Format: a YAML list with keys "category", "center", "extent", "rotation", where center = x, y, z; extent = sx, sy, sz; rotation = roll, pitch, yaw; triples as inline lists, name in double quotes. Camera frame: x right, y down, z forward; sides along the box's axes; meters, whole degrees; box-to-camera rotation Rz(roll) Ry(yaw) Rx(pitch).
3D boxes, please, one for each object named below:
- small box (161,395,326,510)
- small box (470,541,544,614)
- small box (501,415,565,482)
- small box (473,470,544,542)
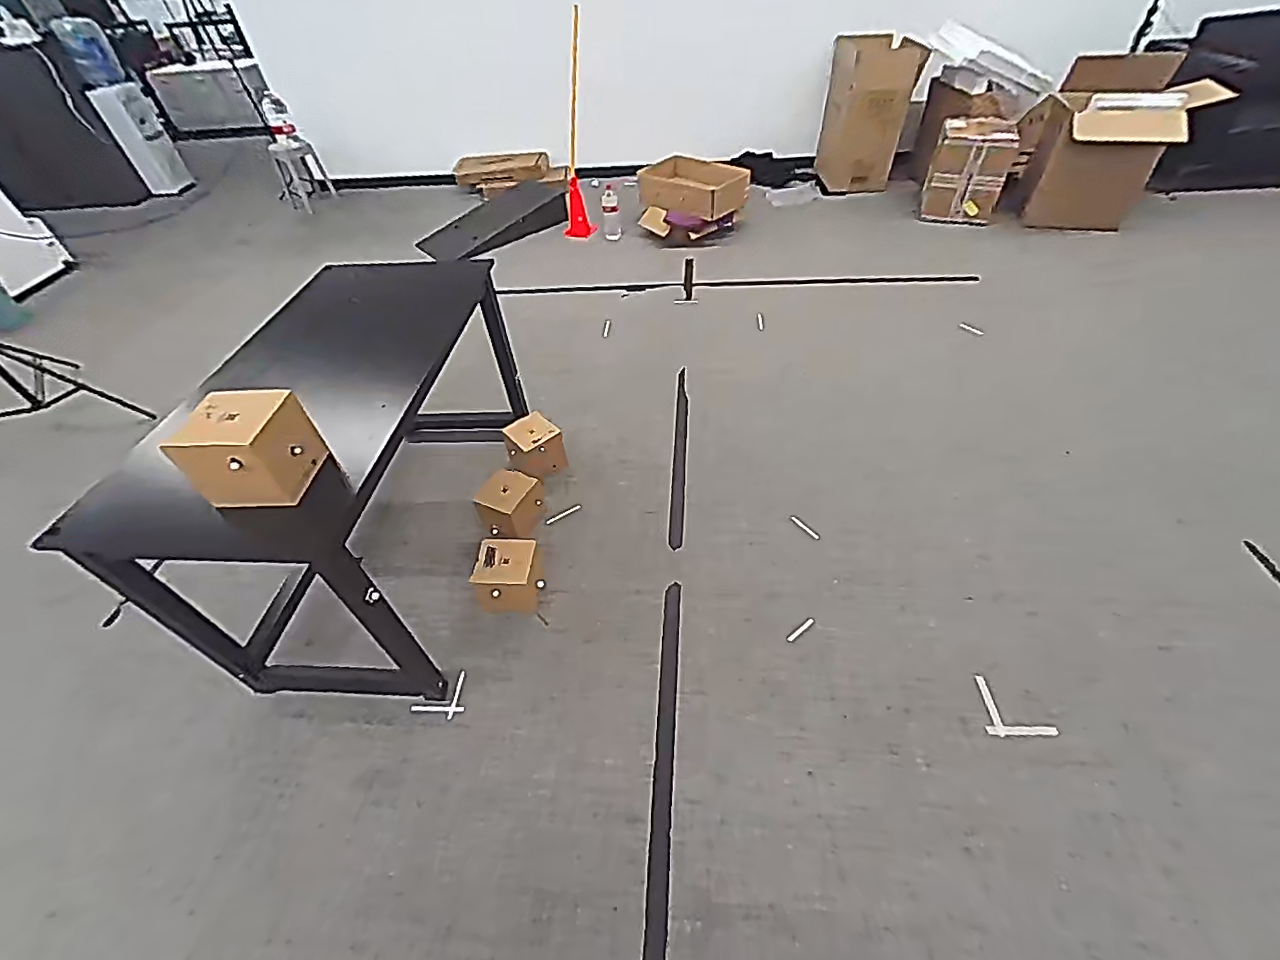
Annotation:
- category: "small box"
  center: [-0.774, -0.053, 1.084]
  extent: [0.179, 0.176, 0.168]
  rotation: [-2, 46, 4]
- category: "small box"
  center: [-0.415, 0.312, 1.716]
  extent: [0.179, 0.176, 0.168]
  rotation: [1, 47, 4]
- category: "small box"
  center: [-0.417, -0.122, 2.128]
  extent: [0.168, 0.176, 0.179]
  rotation: [-36, 53, -25]
- category: "small box"
  center: [-0.460, 0.099, 1.925]
  extent: [0.168, 0.176, 0.179]
  rotation: [16, 51, 20]
